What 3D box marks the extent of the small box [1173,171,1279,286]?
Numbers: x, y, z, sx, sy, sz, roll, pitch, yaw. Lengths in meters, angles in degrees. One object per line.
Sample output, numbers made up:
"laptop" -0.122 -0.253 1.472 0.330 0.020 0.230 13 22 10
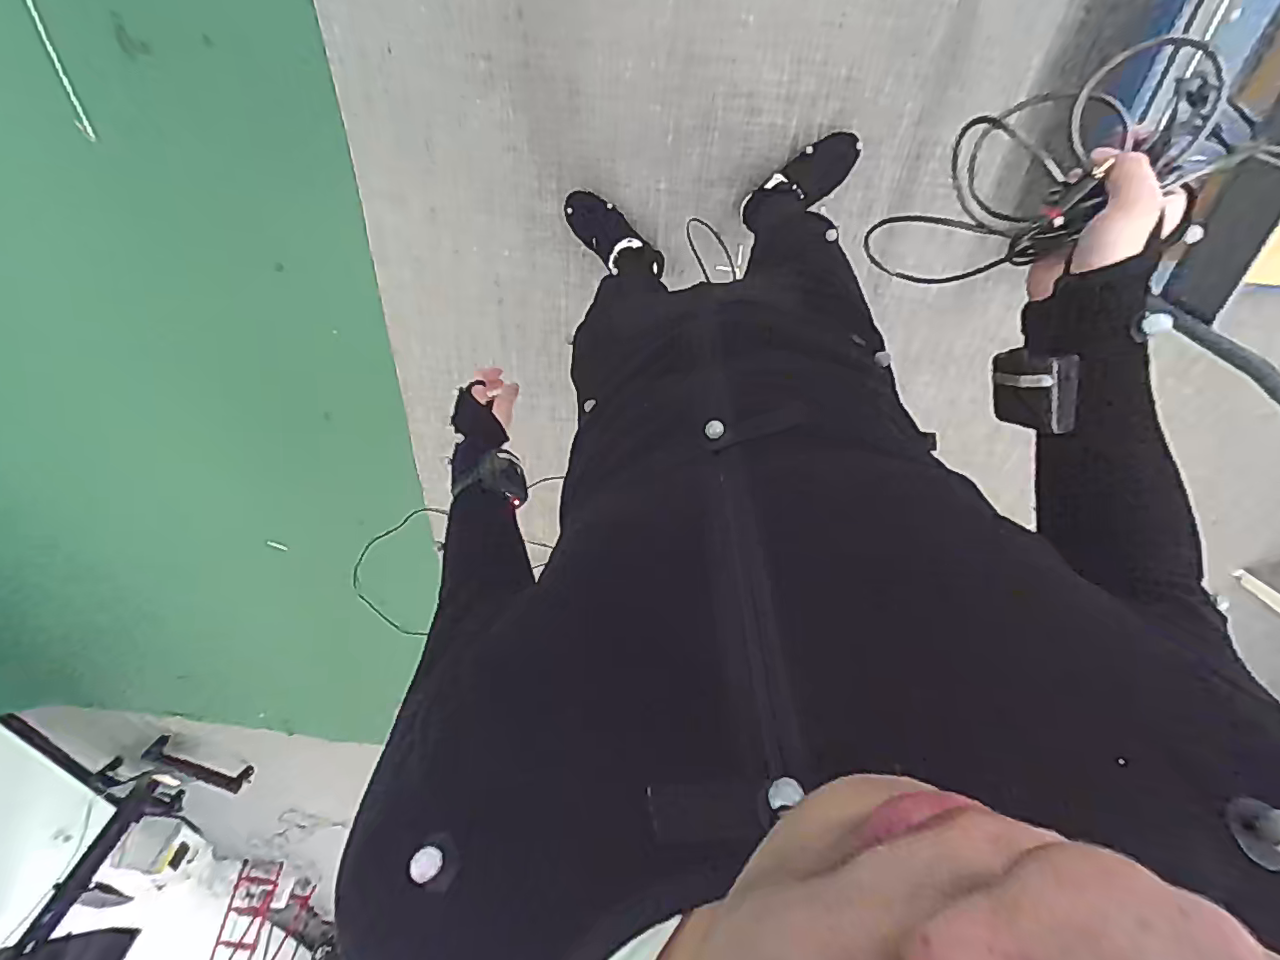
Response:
"small box" 1.211 -0.483 1.036 0.179 0.176 0.168 6 128 3
